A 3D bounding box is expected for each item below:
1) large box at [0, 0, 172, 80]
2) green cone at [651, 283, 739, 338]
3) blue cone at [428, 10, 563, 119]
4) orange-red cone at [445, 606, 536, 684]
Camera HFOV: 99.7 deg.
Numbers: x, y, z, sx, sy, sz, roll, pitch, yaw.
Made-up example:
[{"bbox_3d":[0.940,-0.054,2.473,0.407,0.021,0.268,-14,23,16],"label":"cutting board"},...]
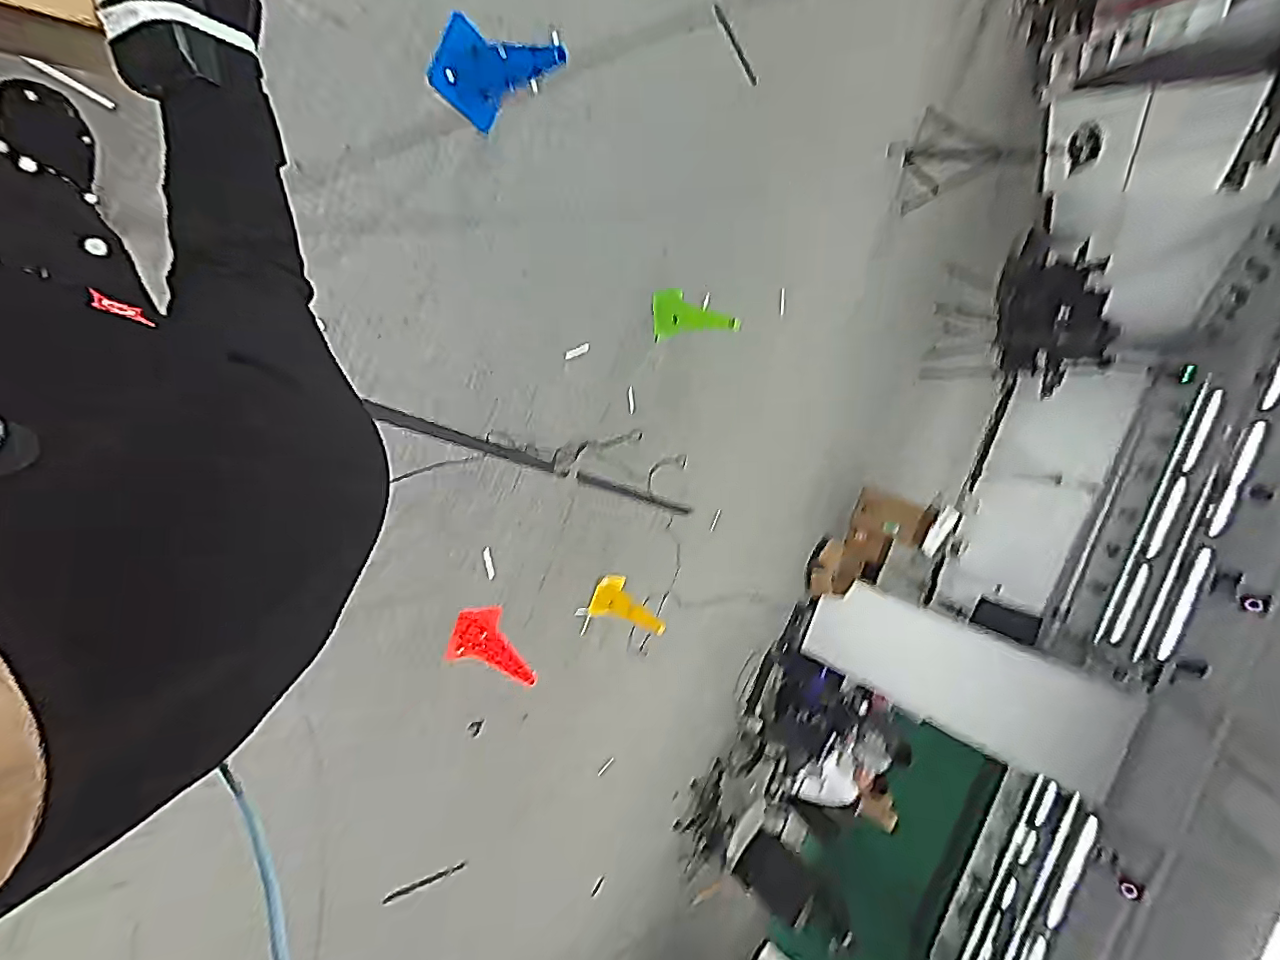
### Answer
[{"bbox_3d":[-0.547,-0.445,0.262,0.408,0.320,0.320,-17,125,-46],"label":"large box"},{"bbox_3d":[0.247,-0.685,2.234,0.200,0.368,0.202,-34,131,-39],"label":"green cone"},{"bbox_3d":[-0.332,-1.039,1.327,0.193,0.380,0.192,24,87,-55],"label":"blue cone"},{"bbox_3d":[-0.503,0.628,1.955,0.199,0.360,0.198,14,98,-56],"label":"orange-red cone"}]
